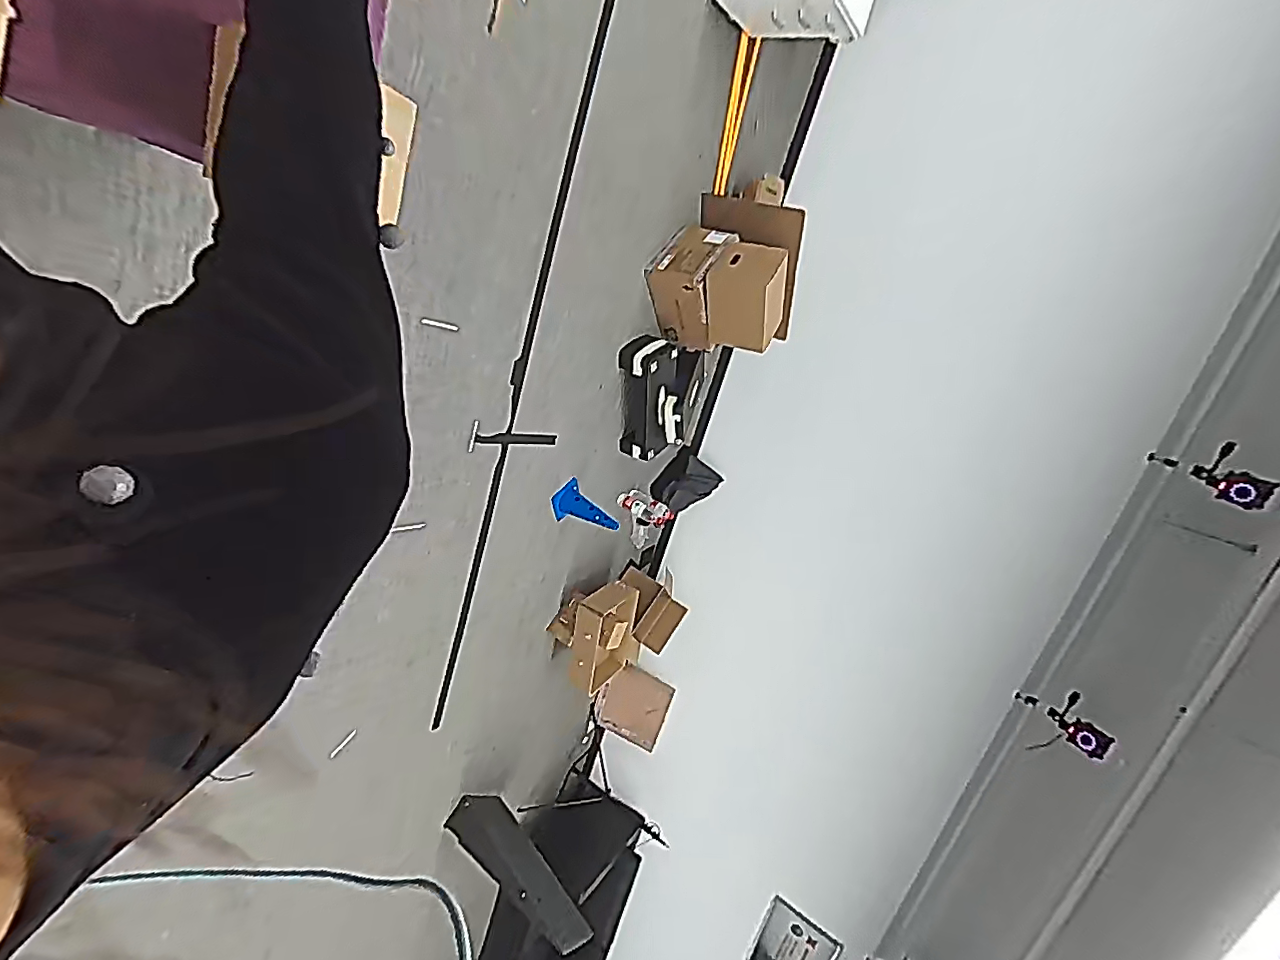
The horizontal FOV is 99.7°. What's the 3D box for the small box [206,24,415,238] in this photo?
[{"bbox_3d":[-0.426,-0.441,0.700,0.168,0.176,0.179,-5,116,-58],"label":"small box"}]
